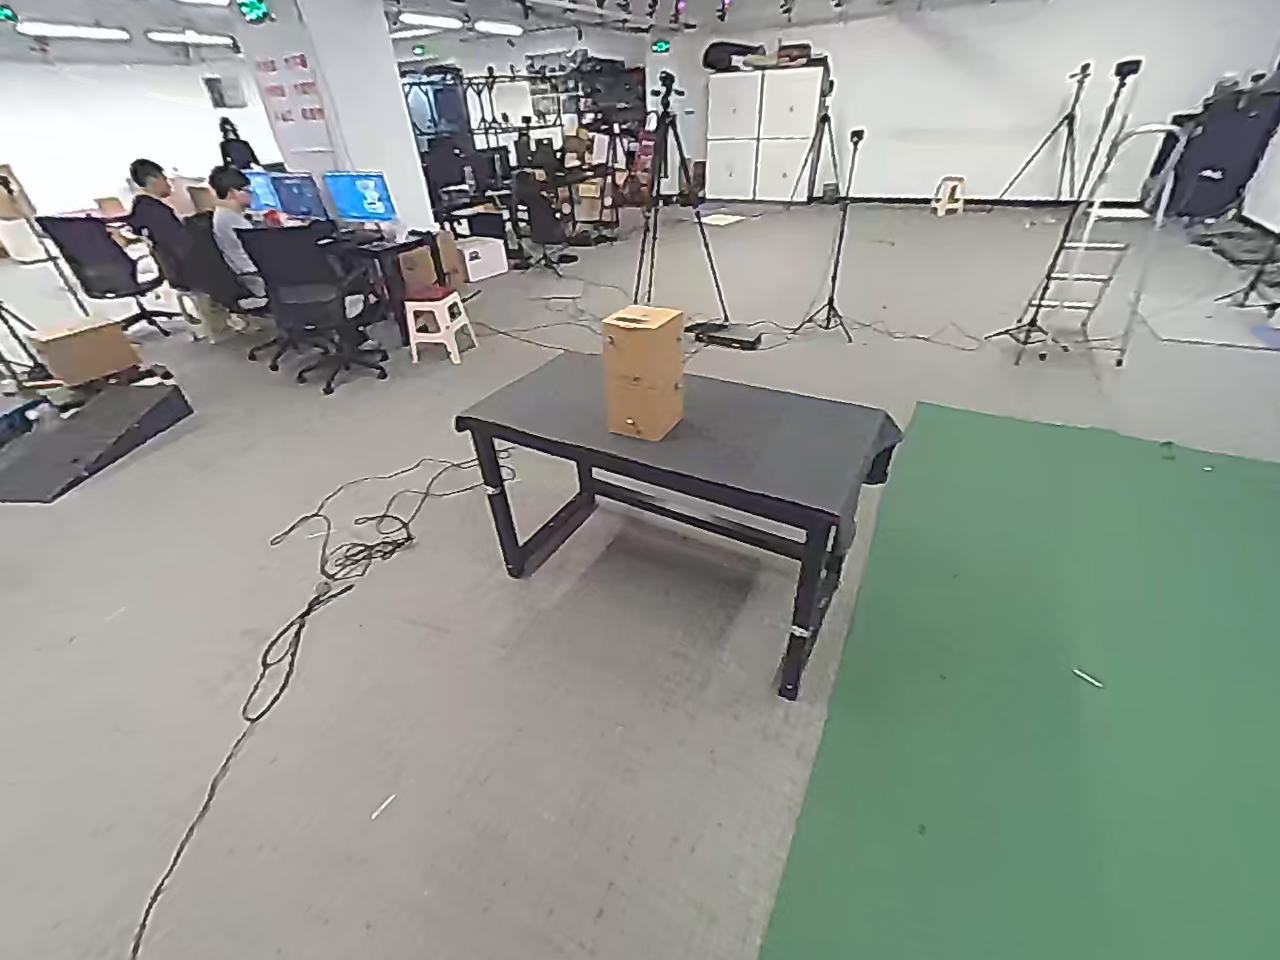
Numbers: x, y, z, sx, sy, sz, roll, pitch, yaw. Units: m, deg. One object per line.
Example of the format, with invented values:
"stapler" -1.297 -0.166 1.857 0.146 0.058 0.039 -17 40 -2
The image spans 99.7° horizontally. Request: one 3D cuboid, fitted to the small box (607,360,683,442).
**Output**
"small box" 0.016 -0.235 1.602 0.168 0.176 0.179 15 38 25
